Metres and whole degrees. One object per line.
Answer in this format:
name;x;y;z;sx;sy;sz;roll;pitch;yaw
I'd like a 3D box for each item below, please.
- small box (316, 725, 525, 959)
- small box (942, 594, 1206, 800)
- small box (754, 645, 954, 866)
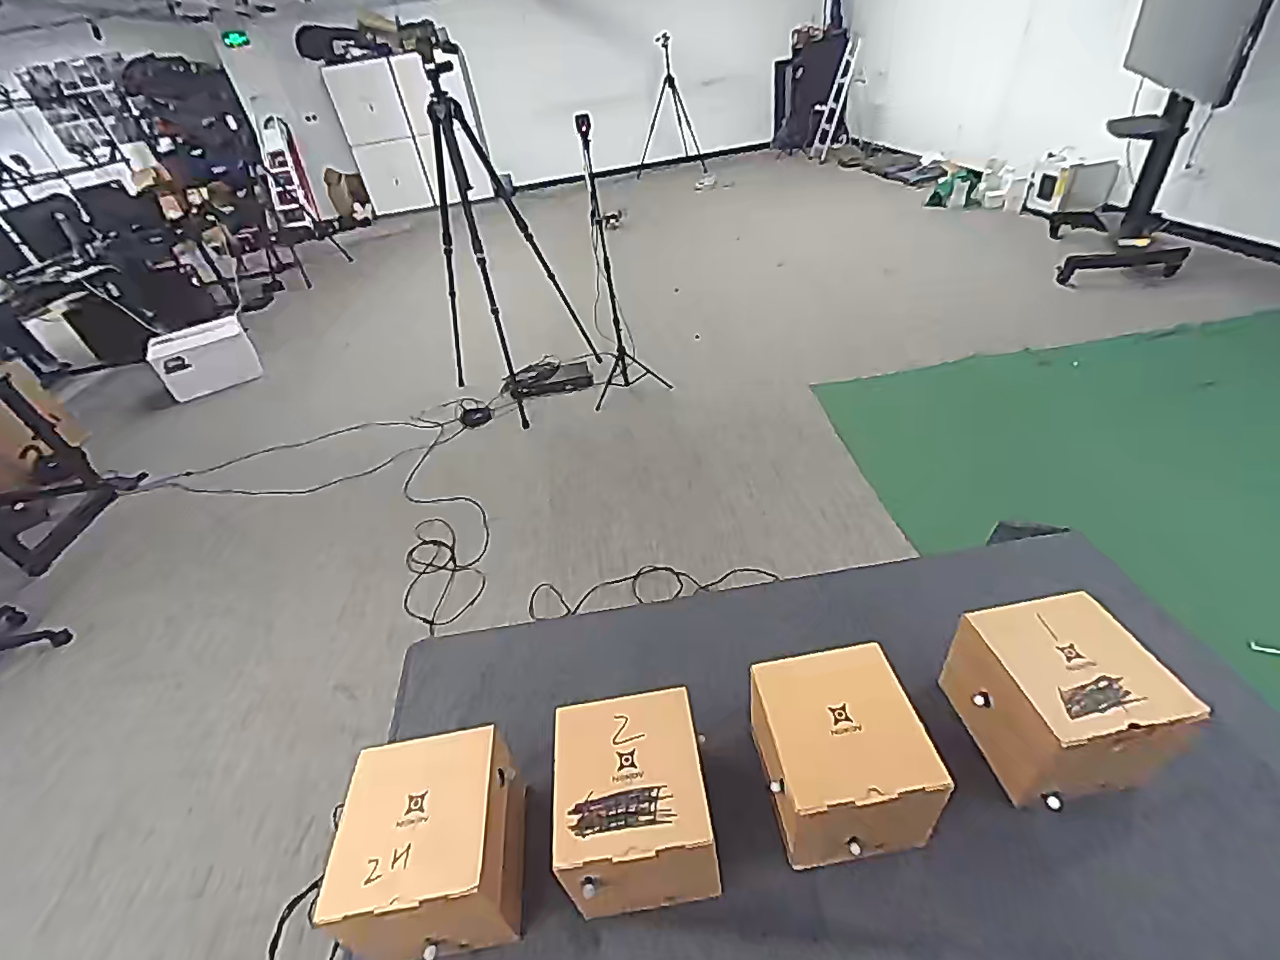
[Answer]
small box;-0.237;0.427;0.640;0.168;0.176;0.179;-10;37;-2
small box;0.518;0.276;0.681;0.168;0.176;0.179;-10;37;-1
small box;0.242;0.337;0.666;0.168;0.176;0.179;-10;39;-1
